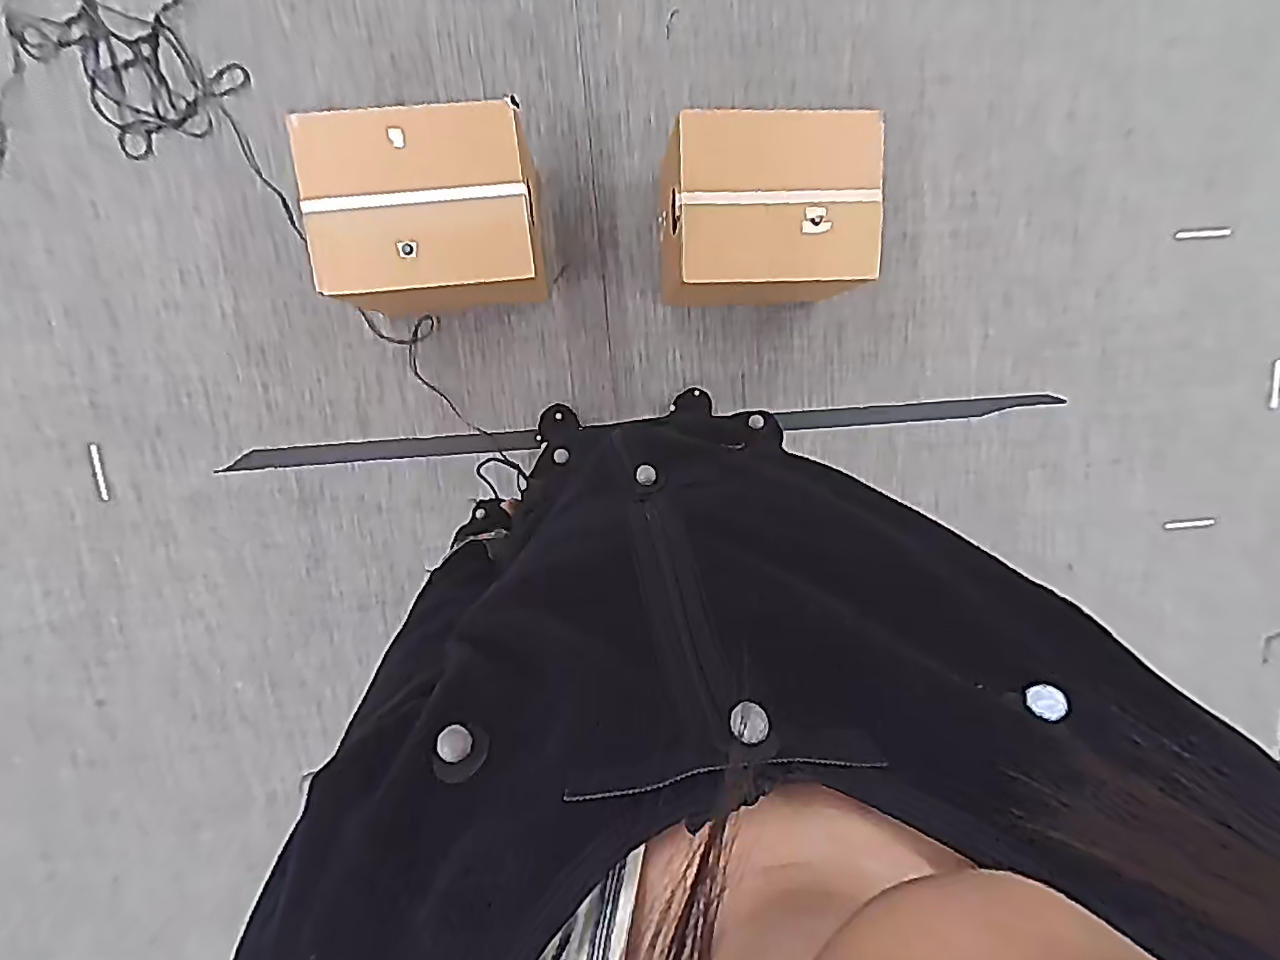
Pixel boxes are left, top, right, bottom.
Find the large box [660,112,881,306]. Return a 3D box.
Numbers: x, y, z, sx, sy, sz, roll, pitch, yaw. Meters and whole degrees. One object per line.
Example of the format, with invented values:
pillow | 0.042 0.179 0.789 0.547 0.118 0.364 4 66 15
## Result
large box | 0.265 -0.577 1.208 0.408 0.320 0.320 -3 100 -5
